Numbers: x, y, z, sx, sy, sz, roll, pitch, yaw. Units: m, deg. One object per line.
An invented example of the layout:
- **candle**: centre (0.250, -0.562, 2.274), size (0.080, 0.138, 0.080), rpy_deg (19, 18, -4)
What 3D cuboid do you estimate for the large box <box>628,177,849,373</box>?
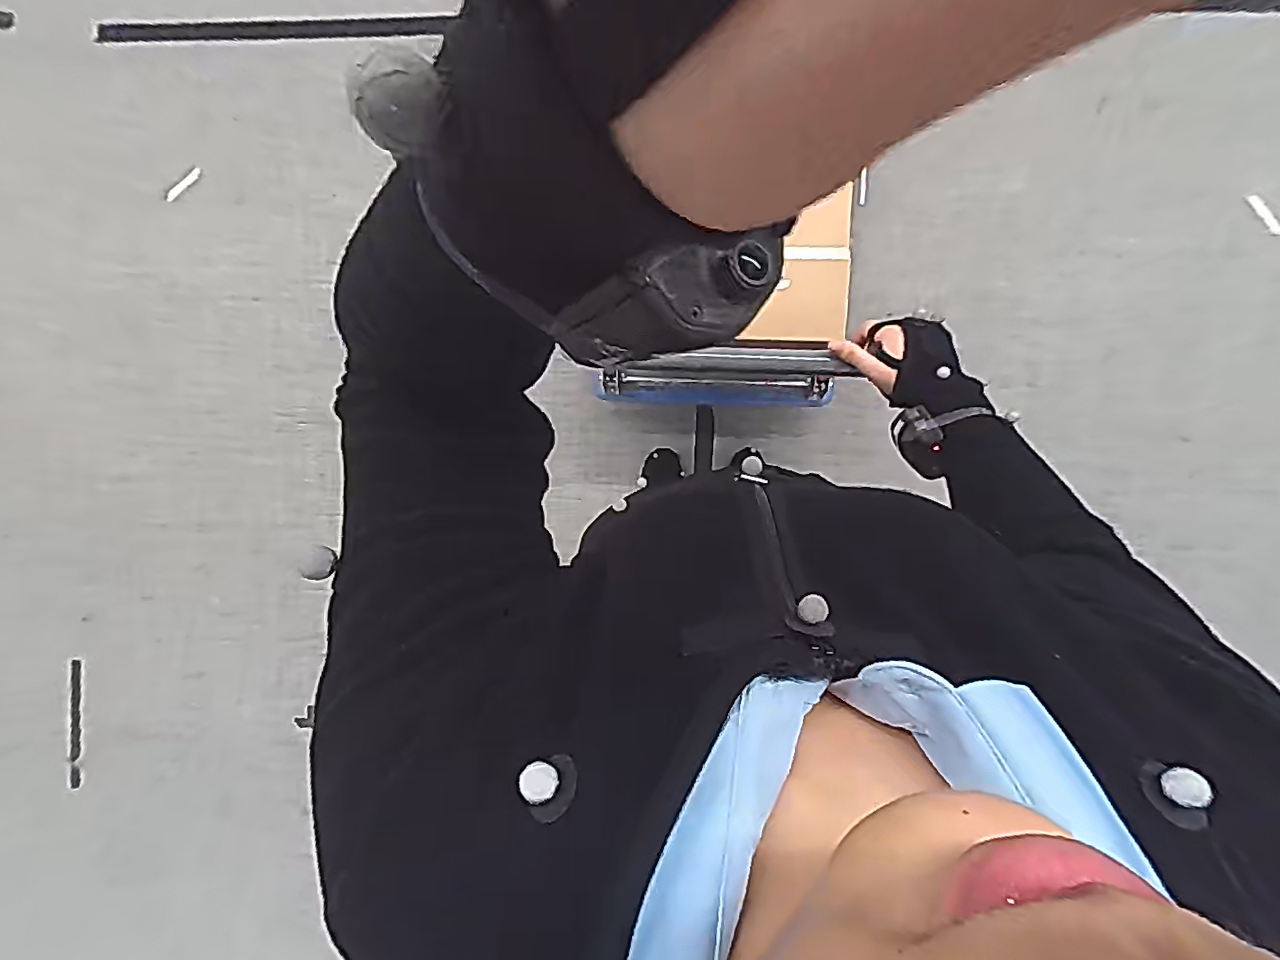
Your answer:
- **large box**: centre (0.182, -0.405, 1.140), size (0.408, 0.320, 0.320), rpy_deg (2, 93, 2)
